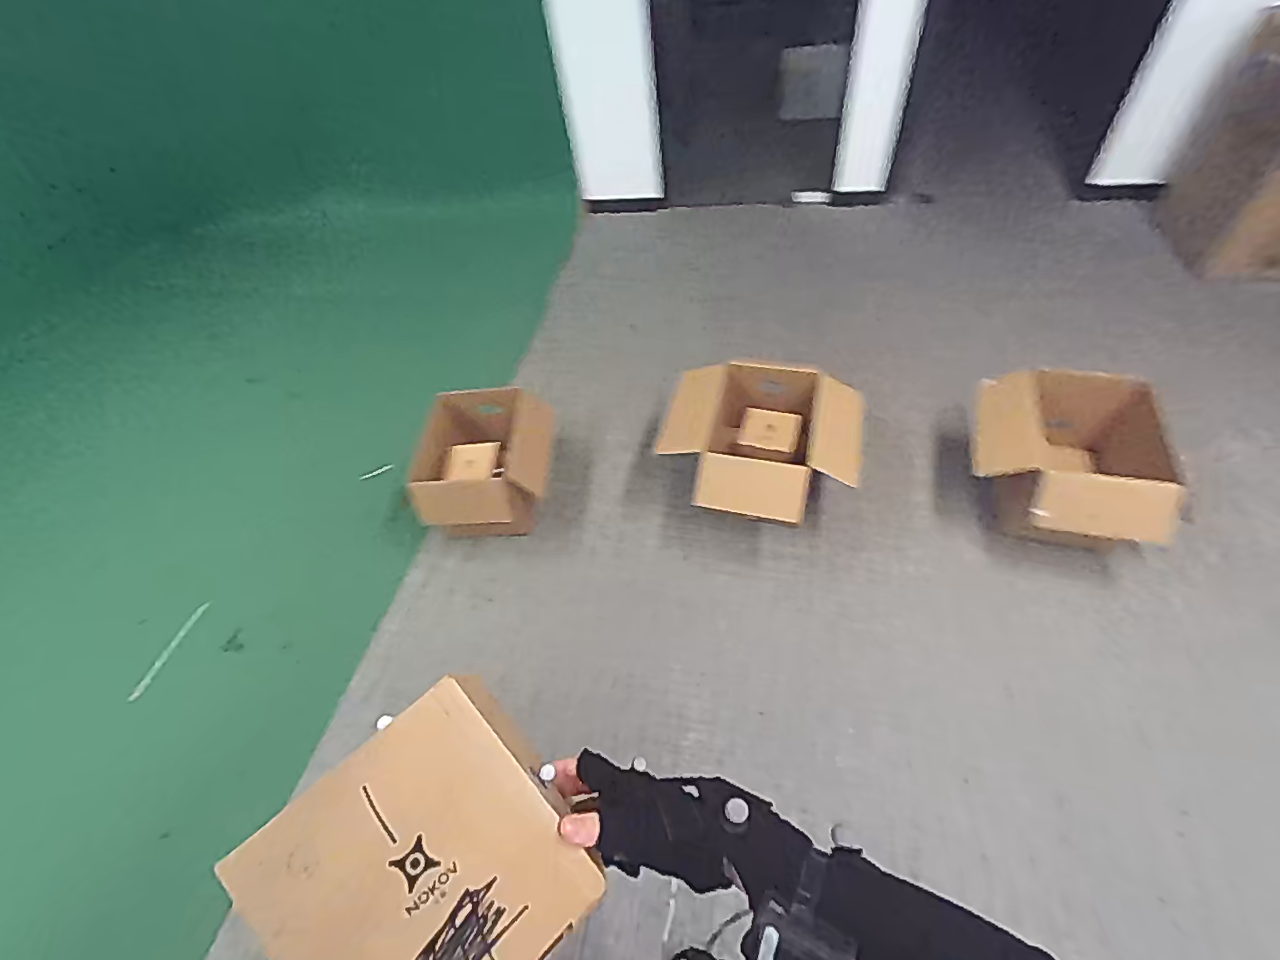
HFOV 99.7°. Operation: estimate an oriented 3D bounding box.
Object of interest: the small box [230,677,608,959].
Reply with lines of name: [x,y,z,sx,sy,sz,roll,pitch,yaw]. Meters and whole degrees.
small box: [-0.145,0.269,0.412,0.168,0.176,0.179,-36,80,-20]
